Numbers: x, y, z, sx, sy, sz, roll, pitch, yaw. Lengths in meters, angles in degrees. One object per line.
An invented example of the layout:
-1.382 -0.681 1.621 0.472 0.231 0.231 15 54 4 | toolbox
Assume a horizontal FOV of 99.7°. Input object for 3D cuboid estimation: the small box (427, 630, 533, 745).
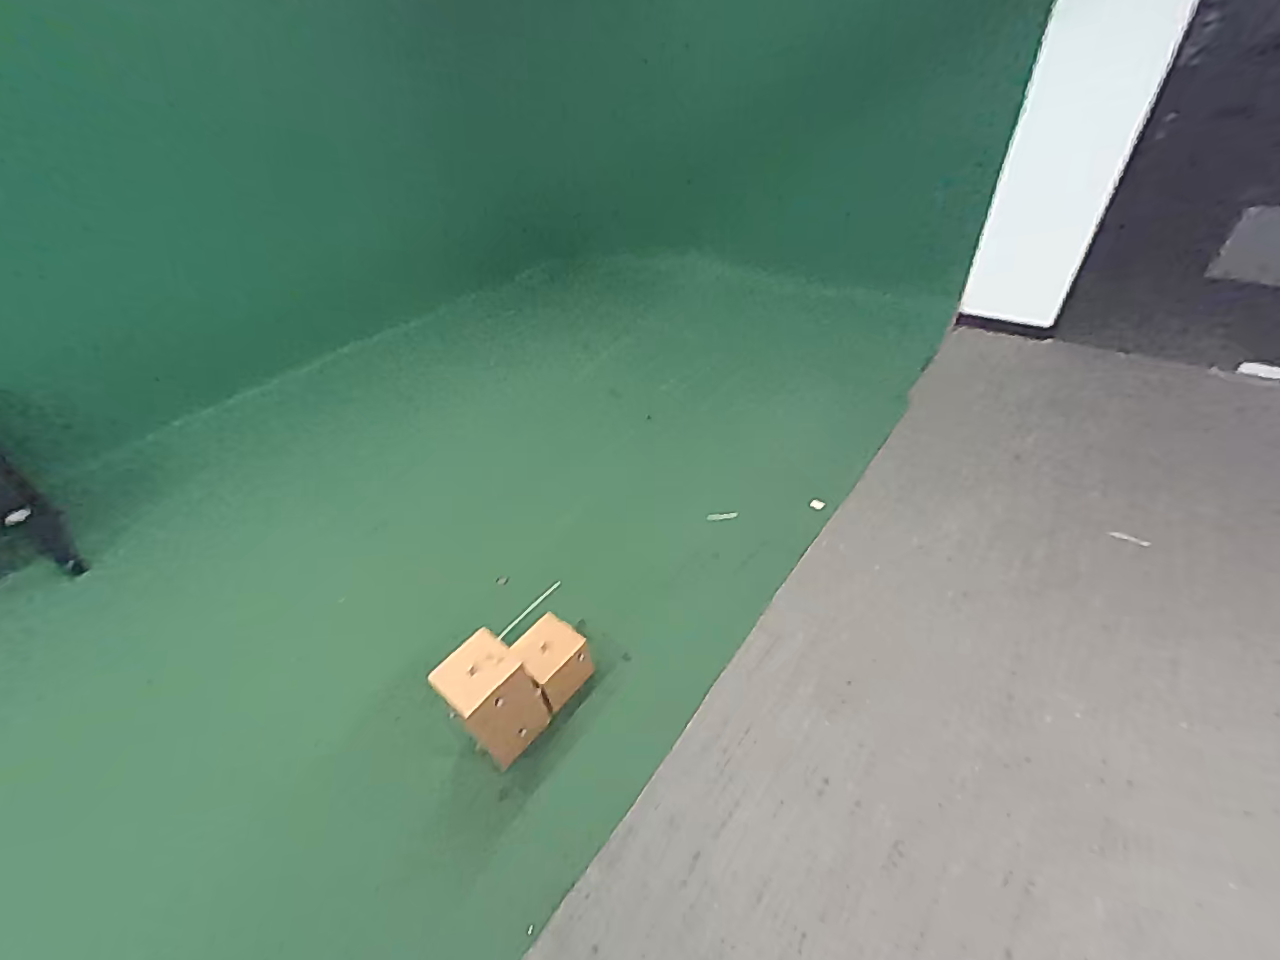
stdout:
-0.394 0.526 1.365 0.168 0.176 0.179 27 51 31 | small box
